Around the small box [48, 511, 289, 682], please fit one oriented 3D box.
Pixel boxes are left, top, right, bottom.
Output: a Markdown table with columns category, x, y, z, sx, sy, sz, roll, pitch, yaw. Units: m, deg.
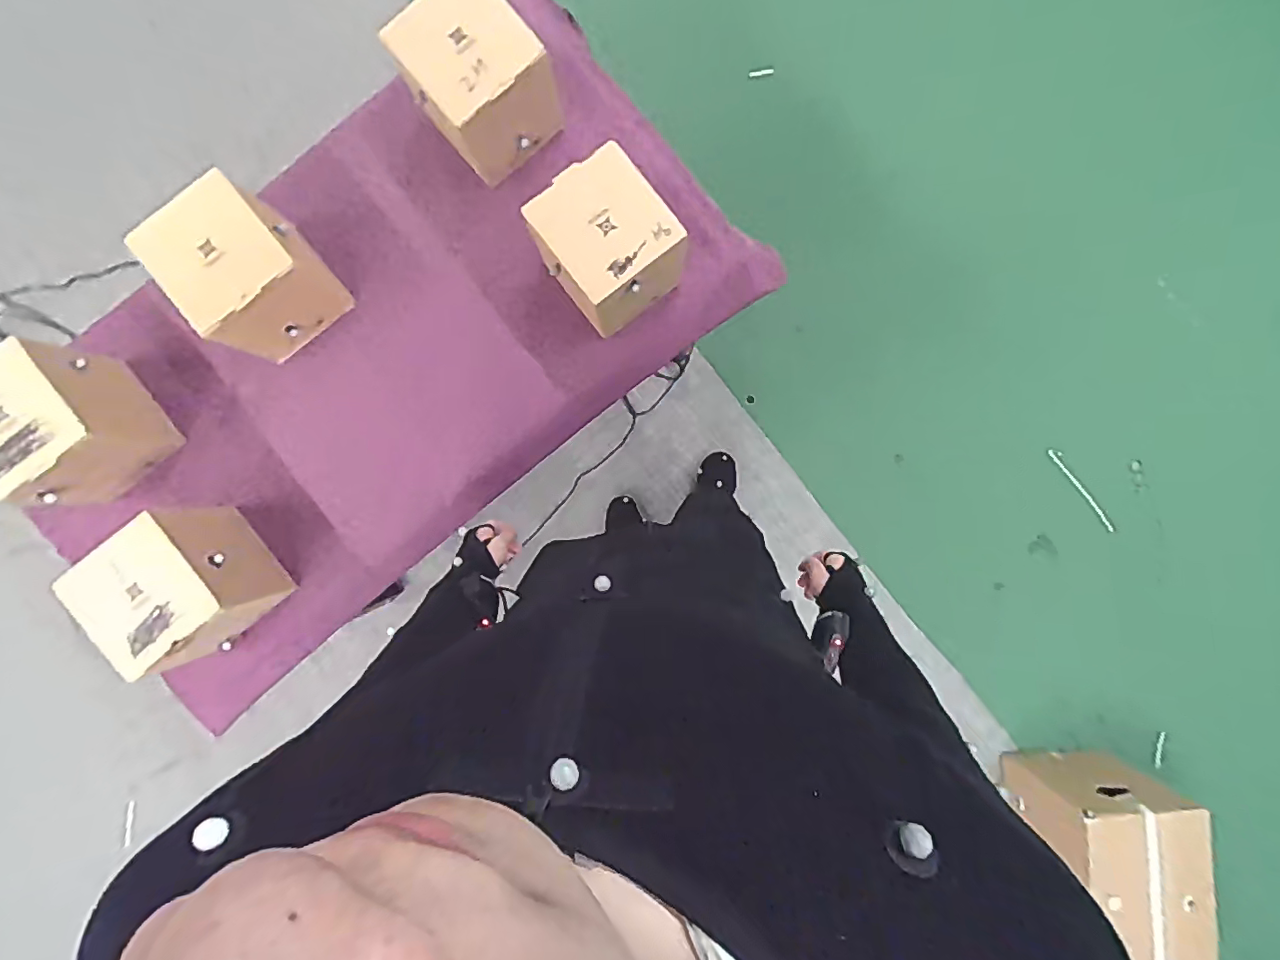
| category | x | y | z | sx | sy | sz | roll | pitch | yaw |
| --- | --- | --- | --- | --- | --- | --- | --- | --- | --- |
| small box | -0.682 | 0.158 | 0.807 | 0.168 | 0.176 | 0.179 | -39 | 89 | -2 |

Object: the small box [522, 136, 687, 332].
| category | x | y | z | sx | sy | sz | roll | pitch | yaw |
| --- | --- | --- | --- | --- | --- | --- | --- | --- | --- |
| small box | -0.049 | -0.358 | 0.823 | 0.168 | 0.176 | 0.179 | -38 | 88 | 0 |

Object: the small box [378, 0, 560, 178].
| category | x | y | z | sx | sy | sz | roll | pitch | yaw |
| --- | --- | --- | --- | --- | --- | --- | --- | --- | --- |
| small box | -0.246 | -0.609 | 0.820 | 0.168 | 0.176 | 0.179 | -40 | 91 | 2 |

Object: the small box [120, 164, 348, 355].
| category | x | y | z | sx | sy | sz | roll | pitch | yaw |
| --- | --- | --- | --- | --- | --- | --- | --- | --- | --- |
| small box | -0.594 | -0.316 | 0.817 | 0.168 | 0.176 | 0.179 | -39 | 91 | -2 |
